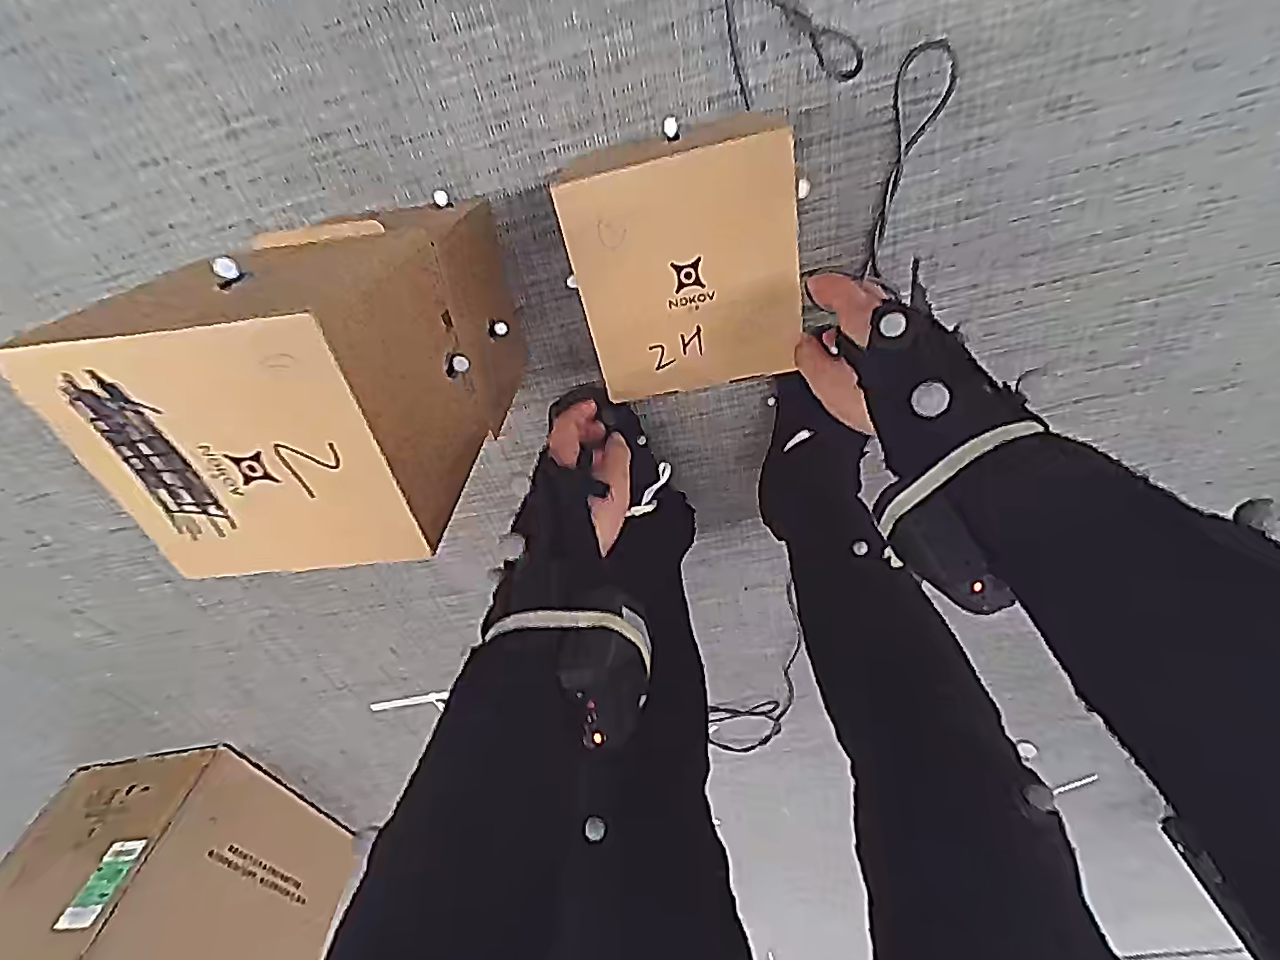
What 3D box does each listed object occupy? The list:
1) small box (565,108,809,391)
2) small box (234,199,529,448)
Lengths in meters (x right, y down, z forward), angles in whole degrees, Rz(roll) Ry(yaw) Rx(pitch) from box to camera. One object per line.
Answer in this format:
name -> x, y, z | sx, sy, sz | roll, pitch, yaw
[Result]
small box -> 0.044, -0.203, 0.468 | 0.168, 0.176, 0.179 | -8, 127, 9
small box -> -0.213, -0.153, 0.508 | 0.168, 0.176, 0.179 | -5, 127, 4
